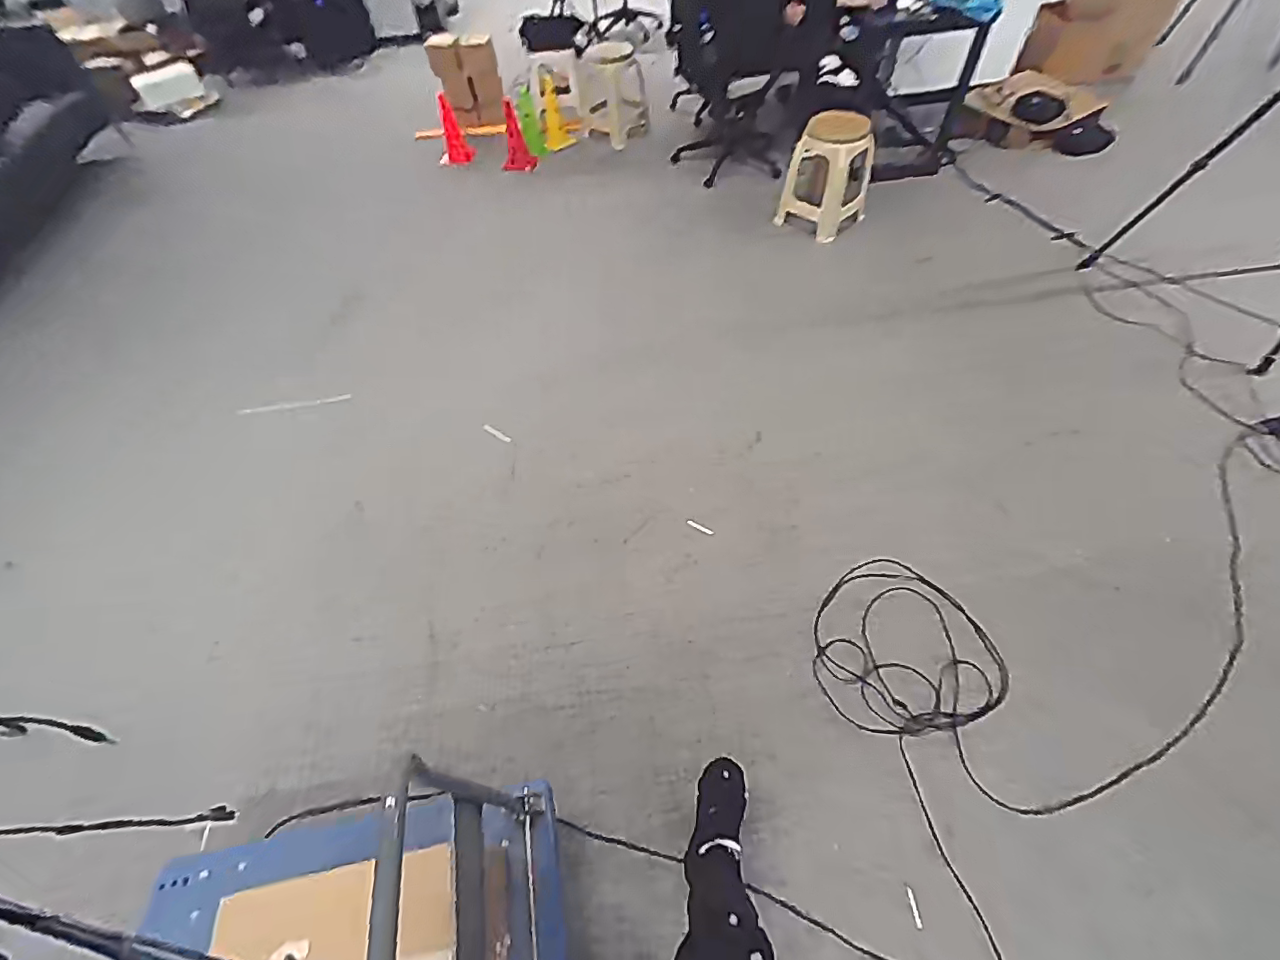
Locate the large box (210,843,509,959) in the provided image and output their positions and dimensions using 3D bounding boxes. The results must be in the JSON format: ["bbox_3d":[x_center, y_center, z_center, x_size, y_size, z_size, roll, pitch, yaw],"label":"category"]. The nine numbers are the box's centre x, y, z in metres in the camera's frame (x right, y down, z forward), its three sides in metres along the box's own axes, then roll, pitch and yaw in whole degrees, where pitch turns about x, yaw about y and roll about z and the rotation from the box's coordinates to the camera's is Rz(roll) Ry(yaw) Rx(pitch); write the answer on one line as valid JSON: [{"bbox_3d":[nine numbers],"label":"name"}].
[{"bbox_3d":[-0.468,0.873,0.955,0.408,0.320,0.320,-12,54,-3],"label":"large box"}]
